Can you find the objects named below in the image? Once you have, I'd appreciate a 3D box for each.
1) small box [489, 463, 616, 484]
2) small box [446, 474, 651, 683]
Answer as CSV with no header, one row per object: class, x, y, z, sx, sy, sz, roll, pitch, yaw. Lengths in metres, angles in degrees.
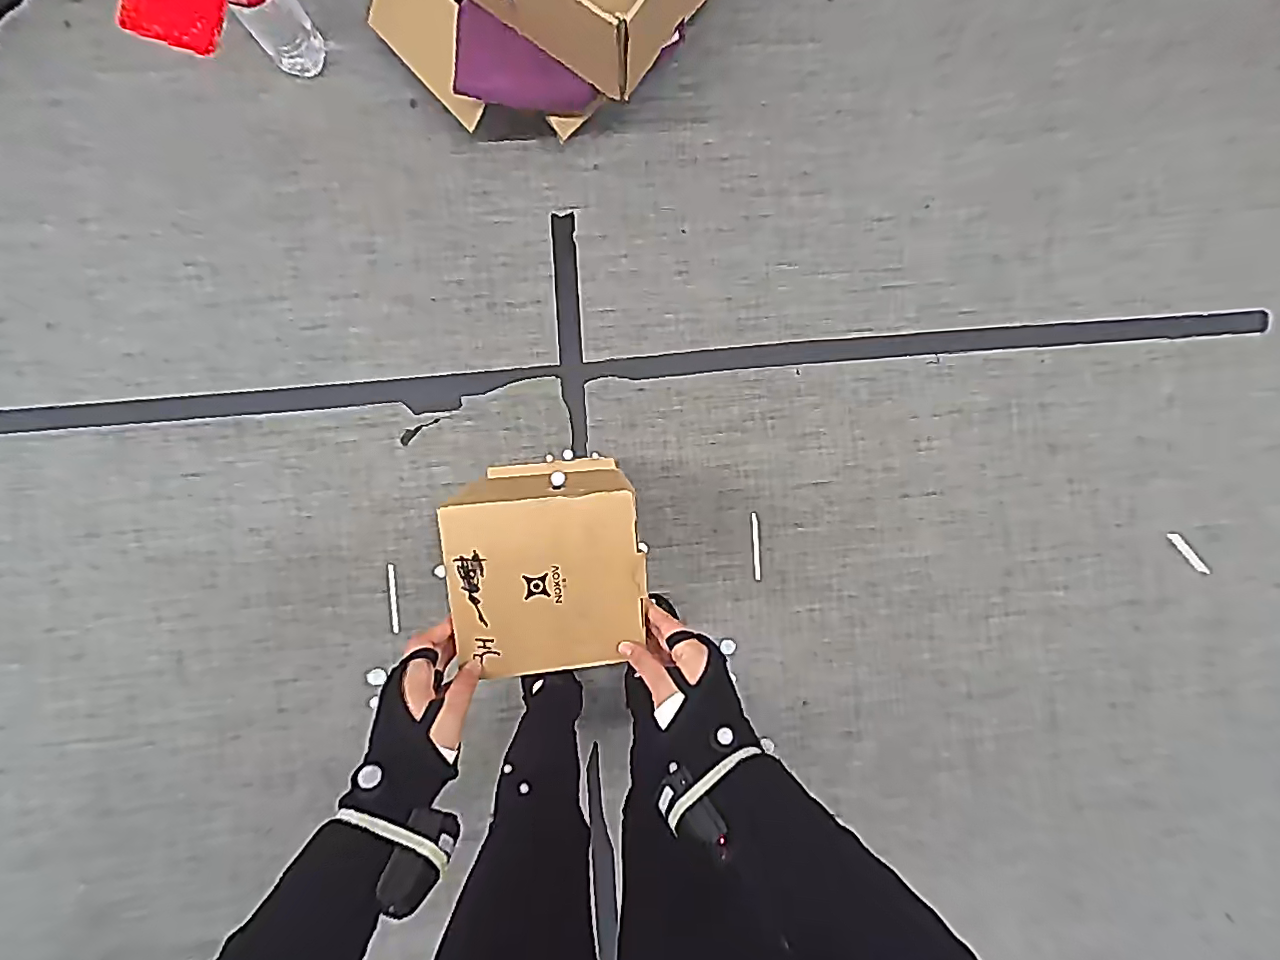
small box,-0.111,0.067,0.778,0.168,0.176,0.179,-5,91,-4
small box,-0.091,0.088,0.572,0.179,0.176,0.168,-5,98,-6
